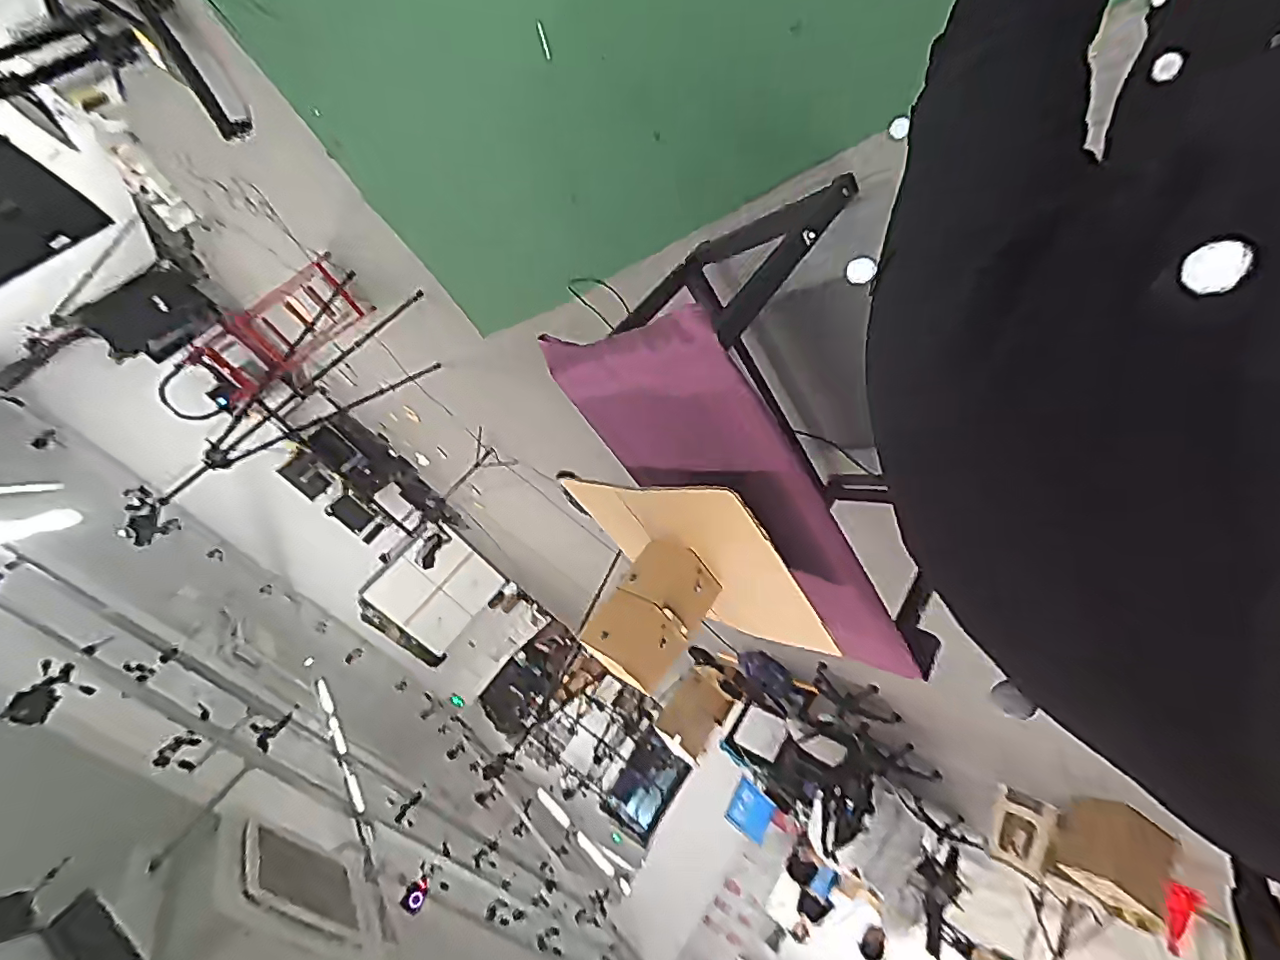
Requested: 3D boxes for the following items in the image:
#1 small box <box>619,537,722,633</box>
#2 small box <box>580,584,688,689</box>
[{"bbox_3d":[0.083,0.271,1.438,0.179,0.176,0.168,6,142,53],"label":"small box"},{"bbox_3d":[-0.012,0.389,1.376,0.179,0.176,0.168,6,141,53],"label":"small box"}]
